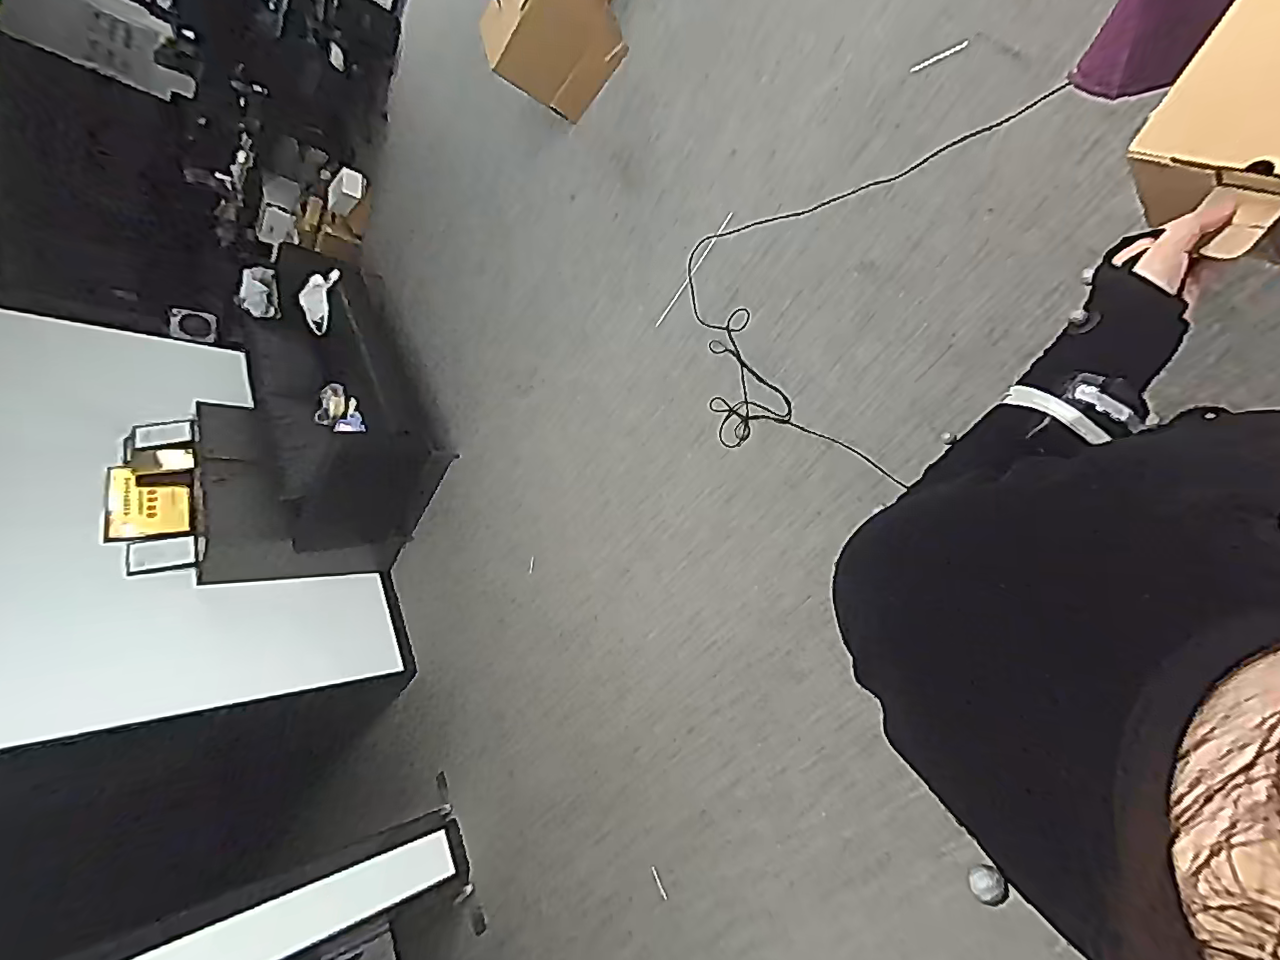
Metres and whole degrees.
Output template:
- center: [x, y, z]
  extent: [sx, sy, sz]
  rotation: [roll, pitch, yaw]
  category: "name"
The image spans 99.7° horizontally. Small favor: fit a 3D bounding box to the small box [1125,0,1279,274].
- center: [0.520, -0.273, 0.401]
  extent: [0.168, 0.176, 0.179]
  rotation: [48, 121, 40]
  category: "small box"
